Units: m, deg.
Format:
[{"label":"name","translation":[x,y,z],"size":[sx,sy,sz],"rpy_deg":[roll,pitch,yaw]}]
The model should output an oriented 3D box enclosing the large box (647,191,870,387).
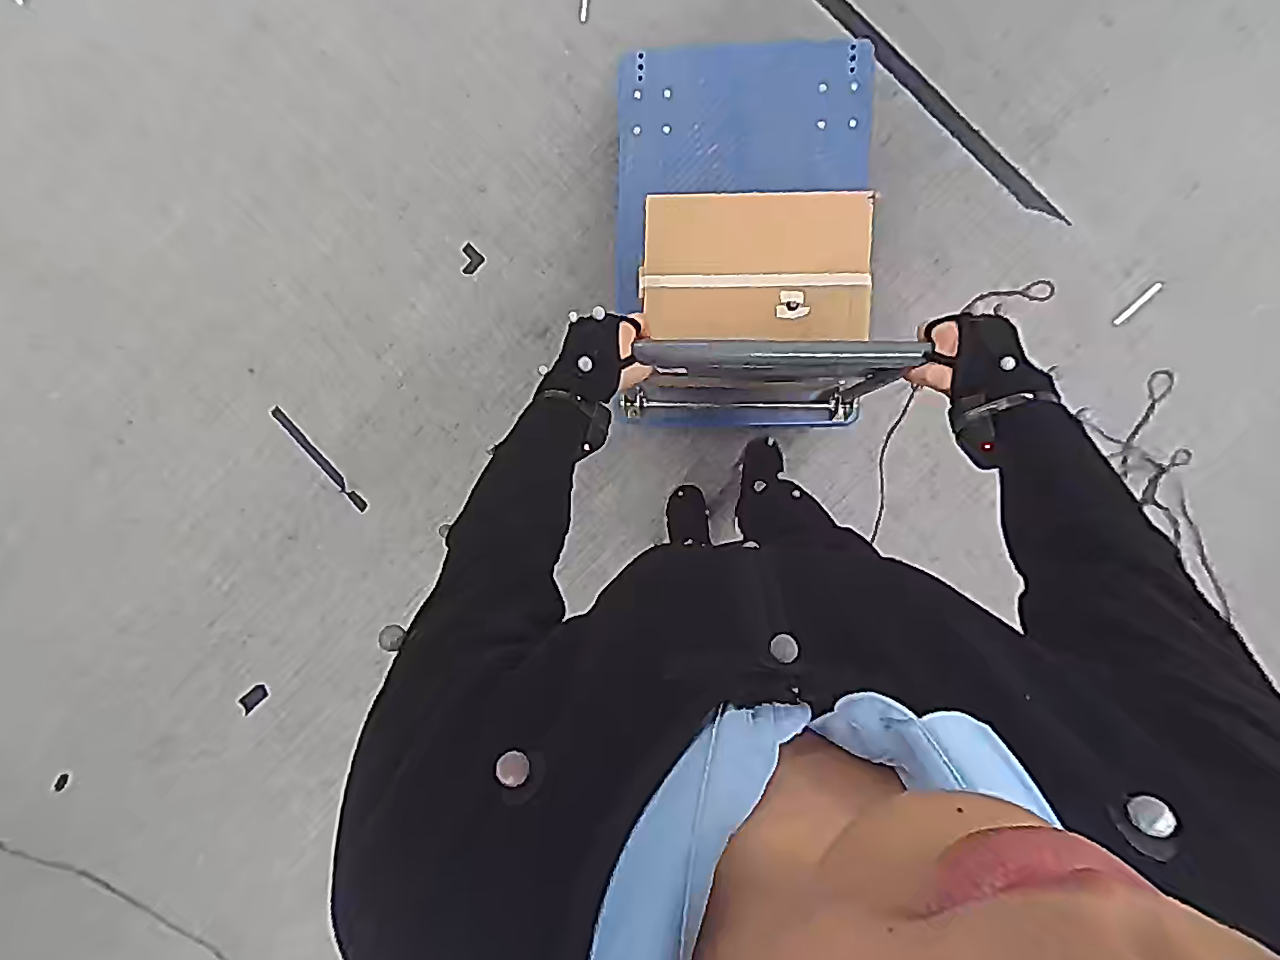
[{"label":"large box","translation":[0.219,-0.371,1.130],"size":[0.408,0.320,0.320],"rpy_deg":[1,94,4]}]
